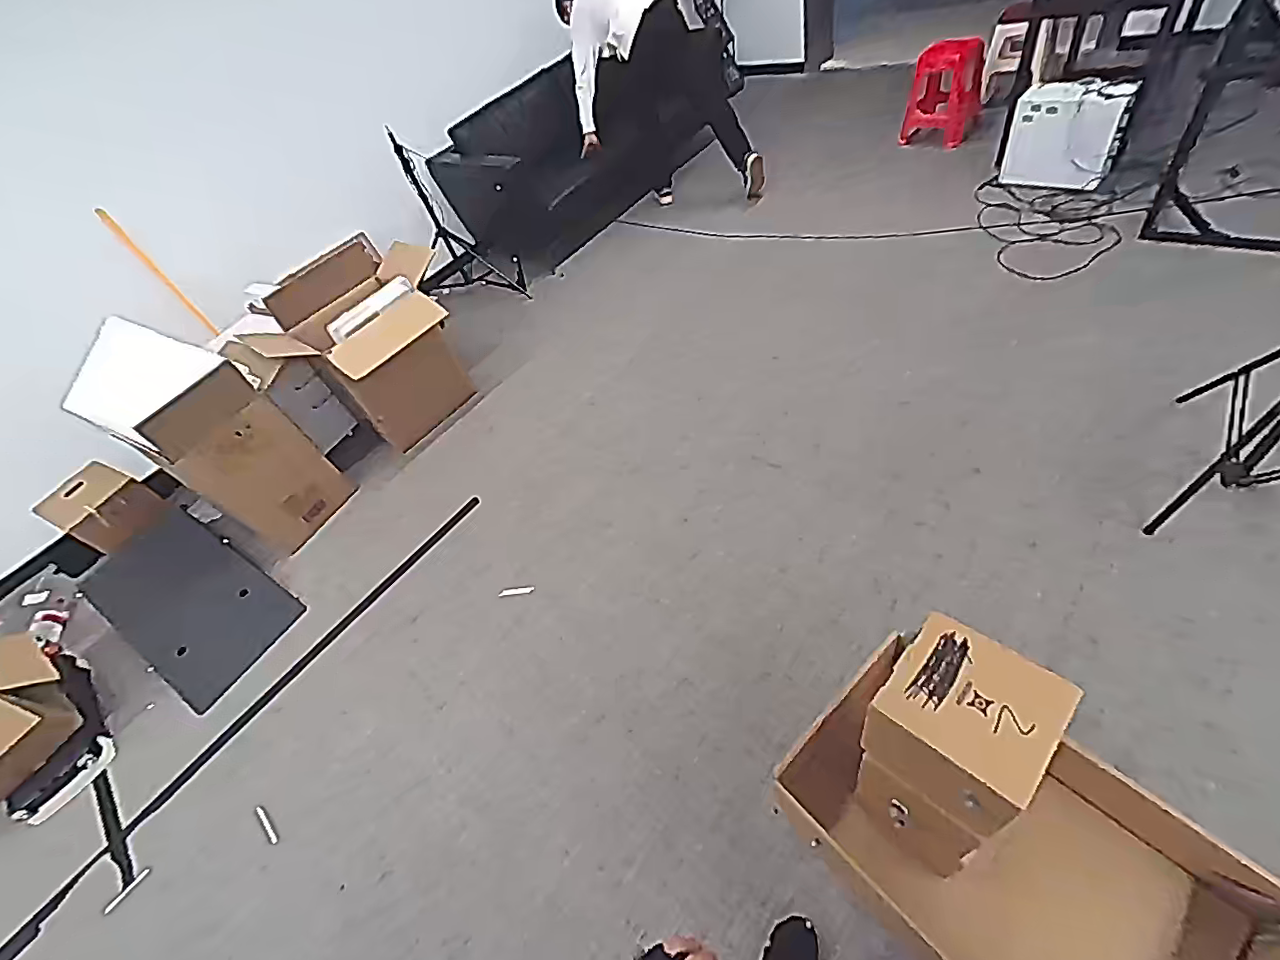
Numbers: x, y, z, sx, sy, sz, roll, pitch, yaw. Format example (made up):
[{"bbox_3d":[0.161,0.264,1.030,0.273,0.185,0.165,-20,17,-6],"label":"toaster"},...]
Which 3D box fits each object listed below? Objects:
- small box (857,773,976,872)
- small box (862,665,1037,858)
[{"bbox_3d":[0.495,0.535,0.932,0.168,0.176,0.179,-43,52,-20],"label":"small box"},{"bbox_3d":[0.452,0.425,0.818,0.168,0.176,0.179,29,63,36],"label":"small box"}]
